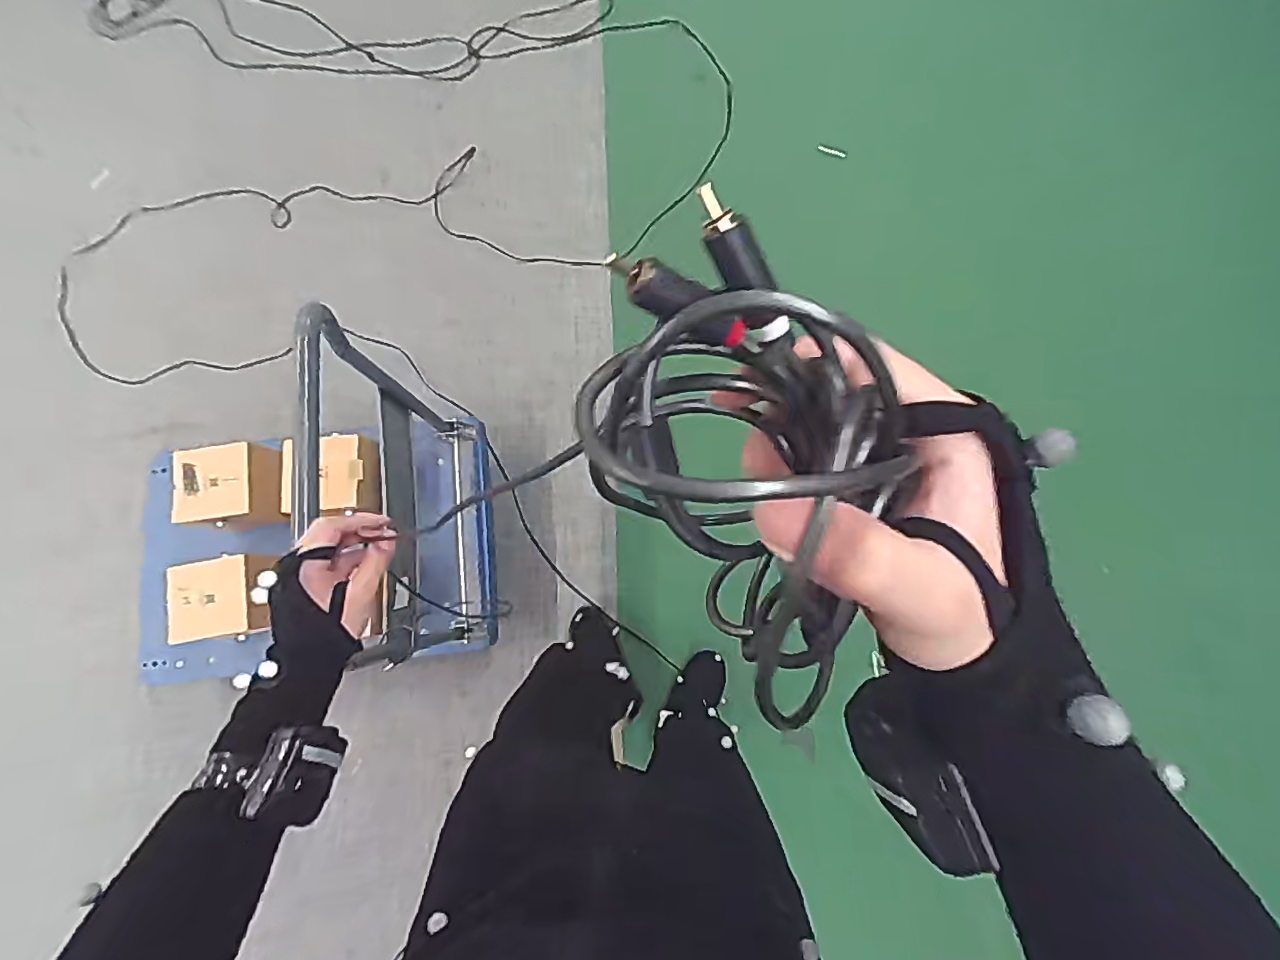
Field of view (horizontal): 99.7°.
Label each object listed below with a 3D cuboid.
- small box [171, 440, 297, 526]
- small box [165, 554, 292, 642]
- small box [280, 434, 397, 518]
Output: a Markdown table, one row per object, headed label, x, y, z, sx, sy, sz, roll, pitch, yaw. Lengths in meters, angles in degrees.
| label | x | y | z | sx | sy | sz | roll | pitch | yaw |
| --- | --- | --- | --- | --- | --- | --- | --- | --- | --- |
| small box | -0.946 | 0.014 | 1.272 | 0.179 | 0.176 | 0.168 | -7 | 80 | 1 |
| small box | -0.921 | 0.262 | 1.226 | 0.179 | 0.176 | 0.168 | -10 | 79 | 1 |
| small box | -0.697 | -0.004 | 1.264 | 0.179 | 0.176 | 0.168 | -4 | 80 | 2 |
